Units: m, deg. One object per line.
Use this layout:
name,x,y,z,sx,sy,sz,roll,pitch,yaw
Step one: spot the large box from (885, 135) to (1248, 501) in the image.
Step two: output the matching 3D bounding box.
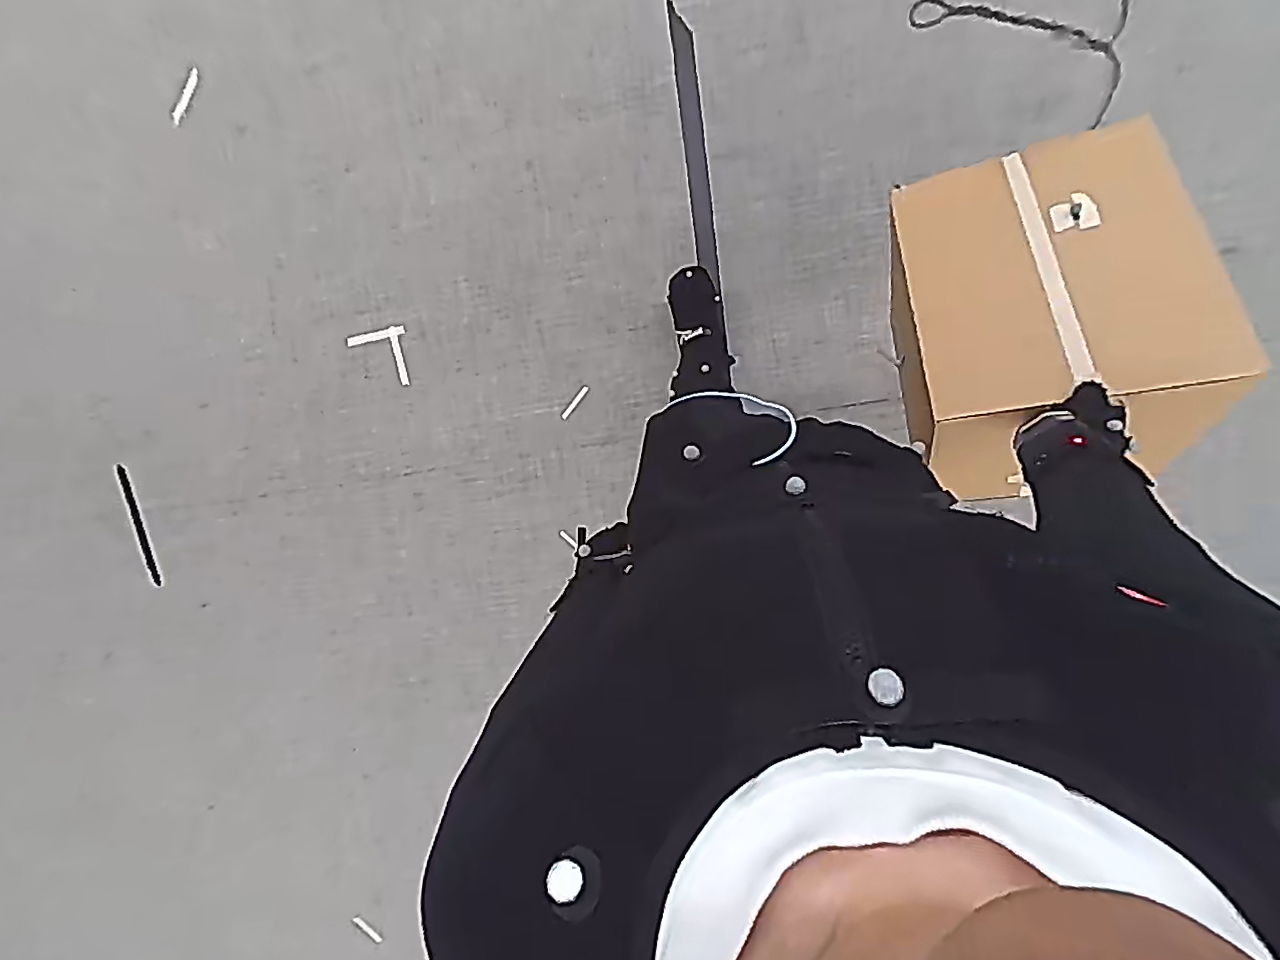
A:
large box,0.578,-0.219,0.840,0.320,0.320,0.408,-7,64,20
